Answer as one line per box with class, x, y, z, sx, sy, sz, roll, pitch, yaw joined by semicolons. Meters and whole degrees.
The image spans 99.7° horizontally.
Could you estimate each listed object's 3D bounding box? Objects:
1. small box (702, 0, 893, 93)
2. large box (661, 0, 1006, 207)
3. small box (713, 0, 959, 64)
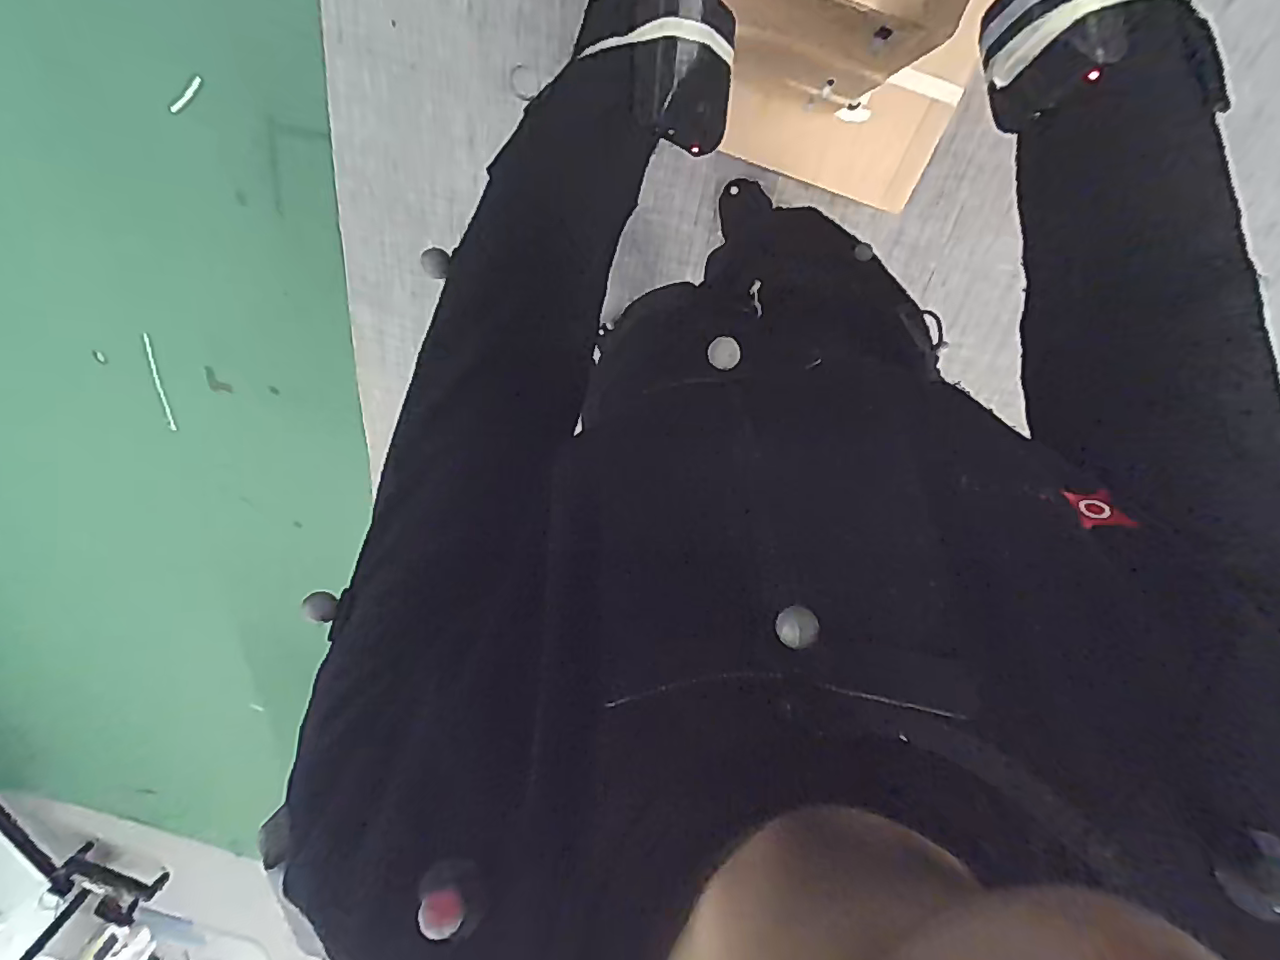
small box;0.171;-0.496;0.521;0.179;0.176;0.168;17;120;2
large box;0.279;-0.675;0.873;0.408;0.320;0.320;19;123;-1
small box;0.151;-0.422;0.377;0.179;0.176;0.168;19;121;-1
